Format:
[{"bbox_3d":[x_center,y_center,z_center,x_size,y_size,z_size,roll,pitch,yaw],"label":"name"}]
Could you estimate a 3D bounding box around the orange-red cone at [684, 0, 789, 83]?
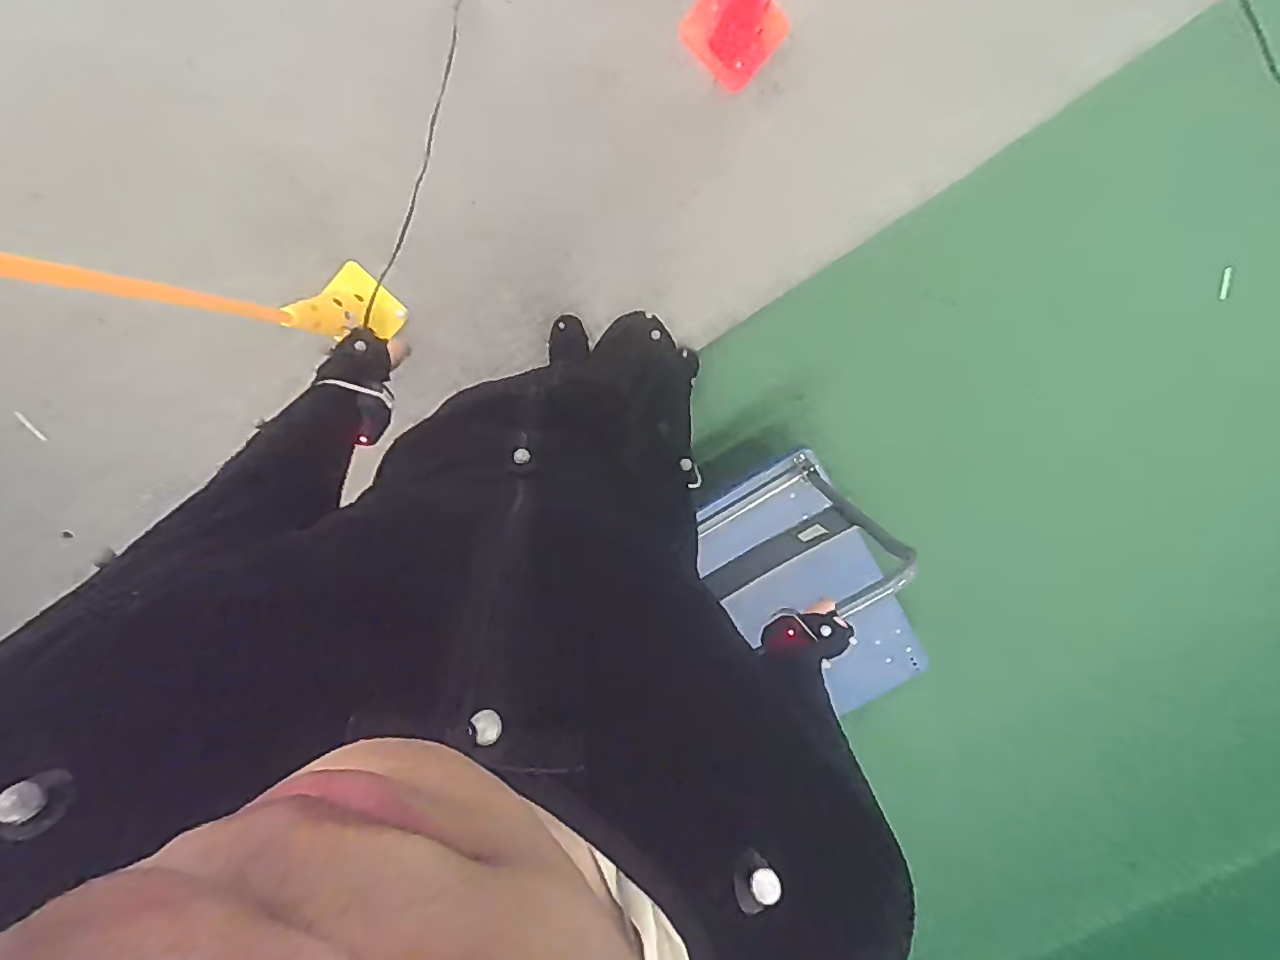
[{"bbox_3d":[0.241,-1.038,1.123,0.198,0.360,0.199,40,101,-15],"label":"orange-red cone"}]
